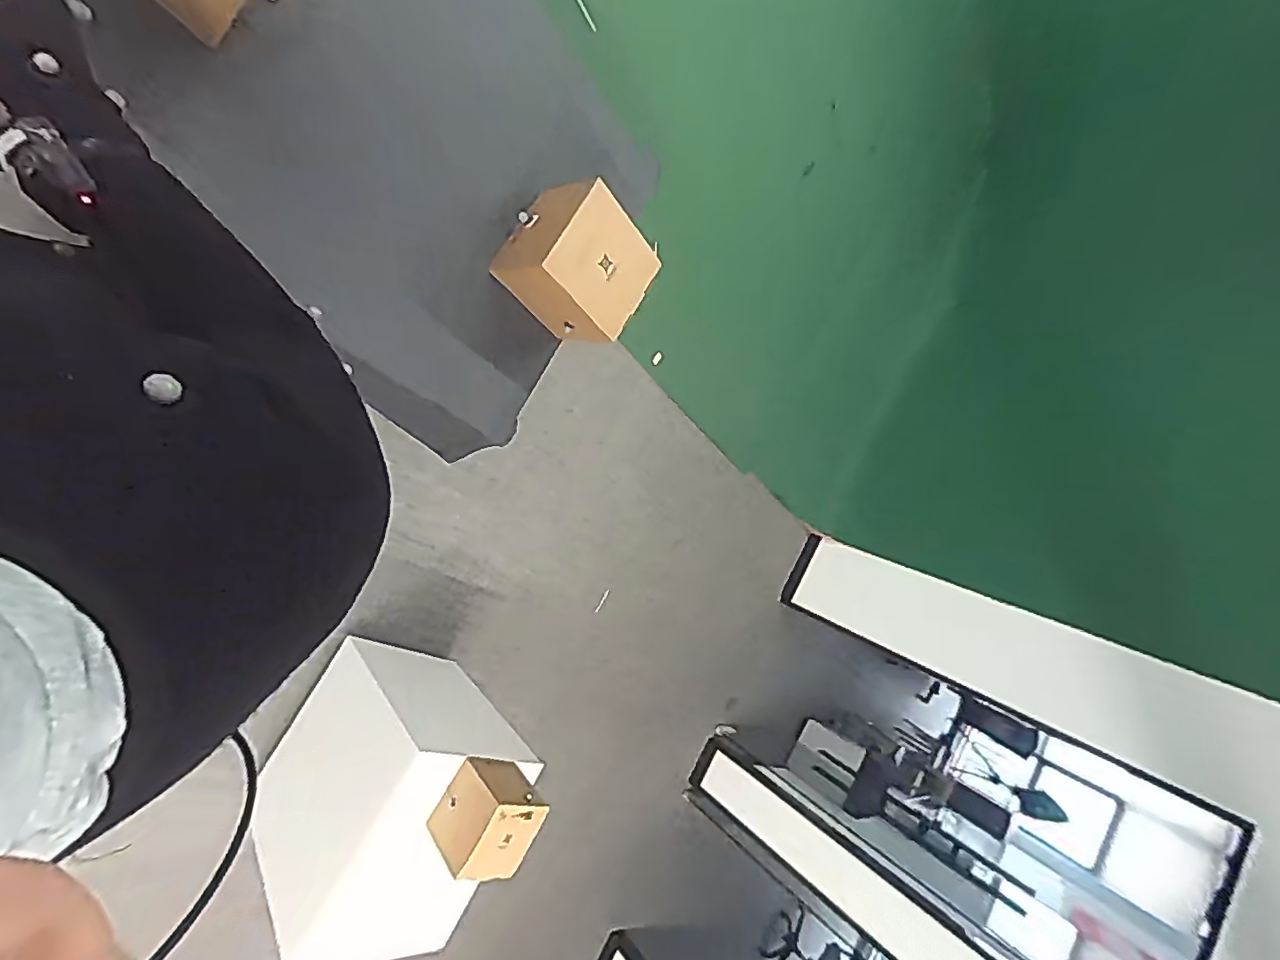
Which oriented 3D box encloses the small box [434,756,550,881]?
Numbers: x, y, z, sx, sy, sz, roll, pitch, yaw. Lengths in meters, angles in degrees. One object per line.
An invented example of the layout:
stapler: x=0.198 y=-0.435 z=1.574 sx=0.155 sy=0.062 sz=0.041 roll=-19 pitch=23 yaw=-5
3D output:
small box: x=-0.349 y=0.779 z=1.252 sx=0.168 sy=0.176 sz=0.179 roll=39 pitch=79 yaw=-45

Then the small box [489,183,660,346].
small box: x=-0.106 y=-0.342 z=0.875 sx=0.179 sy=0.176 sz=0.168 roll=38 pitch=77 yaw=-43

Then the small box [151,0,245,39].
small box: x=-0.430 y=-0.556 z=0.484 sx=0.179 sy=0.176 sz=0.168 roll=37 pitch=79 yaw=-46
